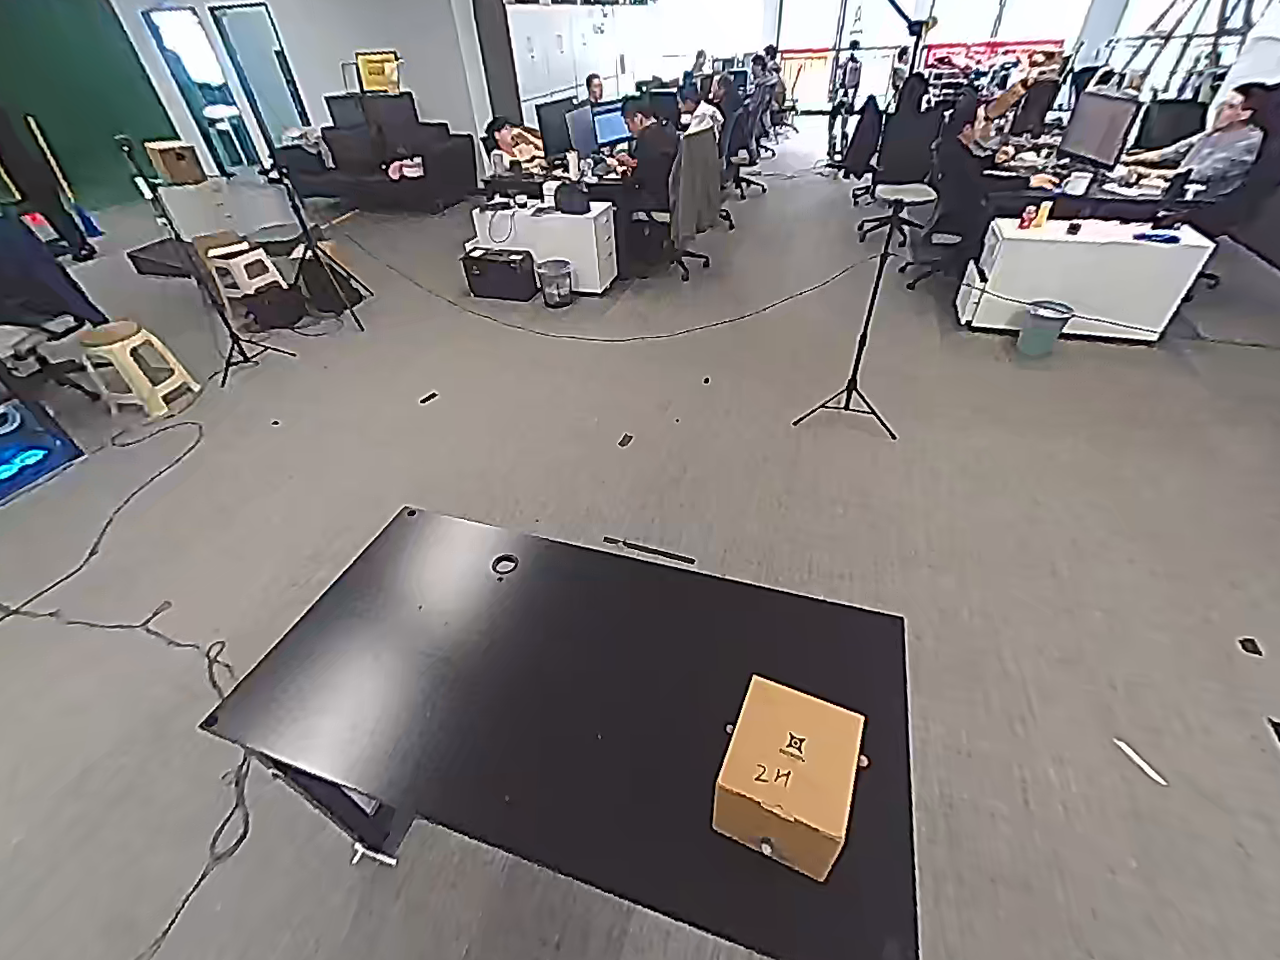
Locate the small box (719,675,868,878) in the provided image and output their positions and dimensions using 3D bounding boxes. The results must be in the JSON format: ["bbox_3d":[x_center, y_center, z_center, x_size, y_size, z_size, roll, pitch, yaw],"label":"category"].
[{"bbox_3d":[0.217,0.428,0.788,0.168,0.176,0.179,15,43,22],"label":"small box"}]
